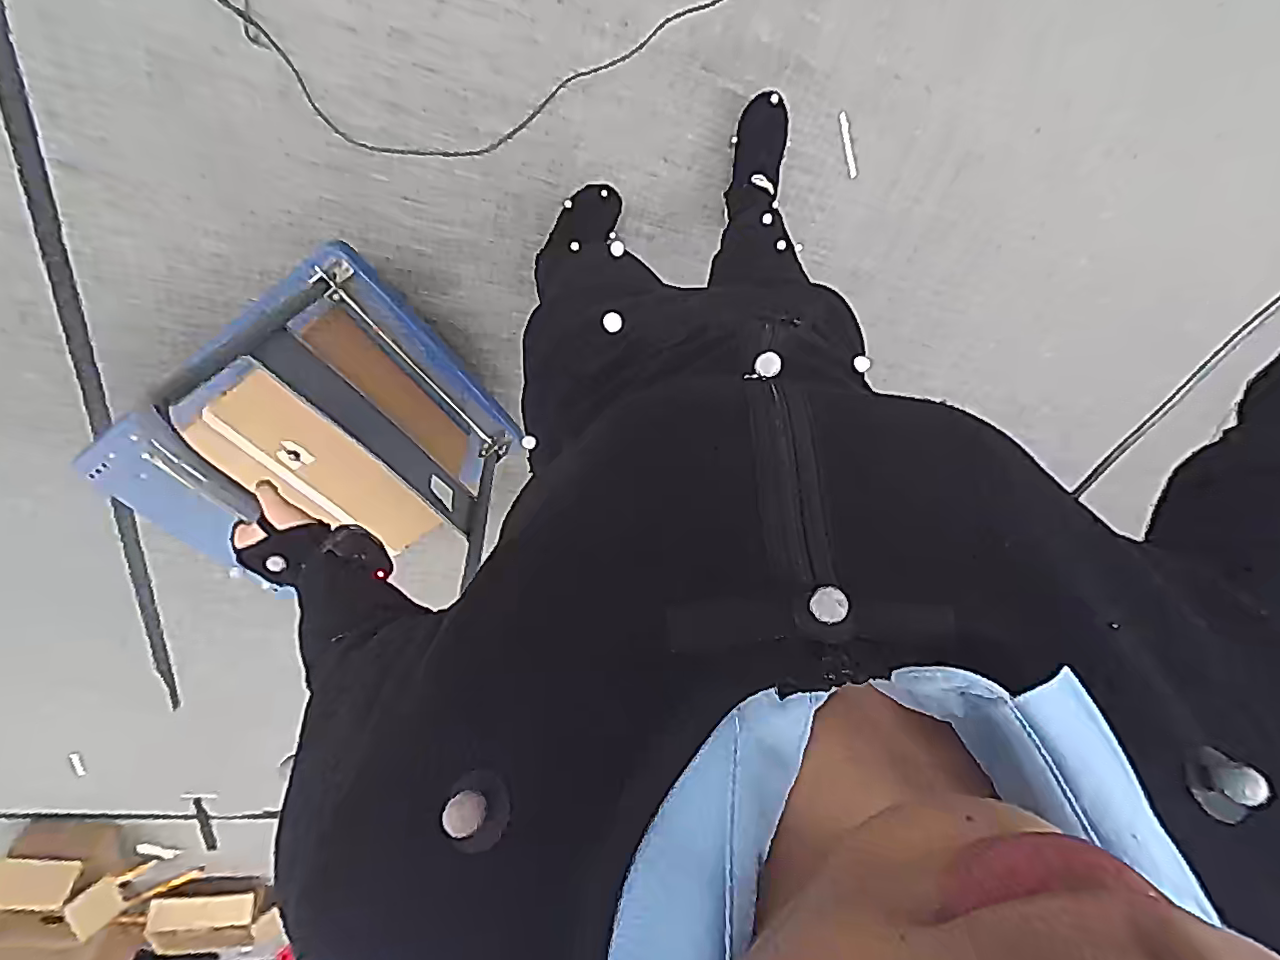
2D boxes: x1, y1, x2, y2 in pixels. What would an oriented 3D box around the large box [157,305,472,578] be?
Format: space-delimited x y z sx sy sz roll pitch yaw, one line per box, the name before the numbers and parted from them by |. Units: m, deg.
large box | -0.622 -0.078 1.125 0.320 0.320 0.408 -31 122 13
